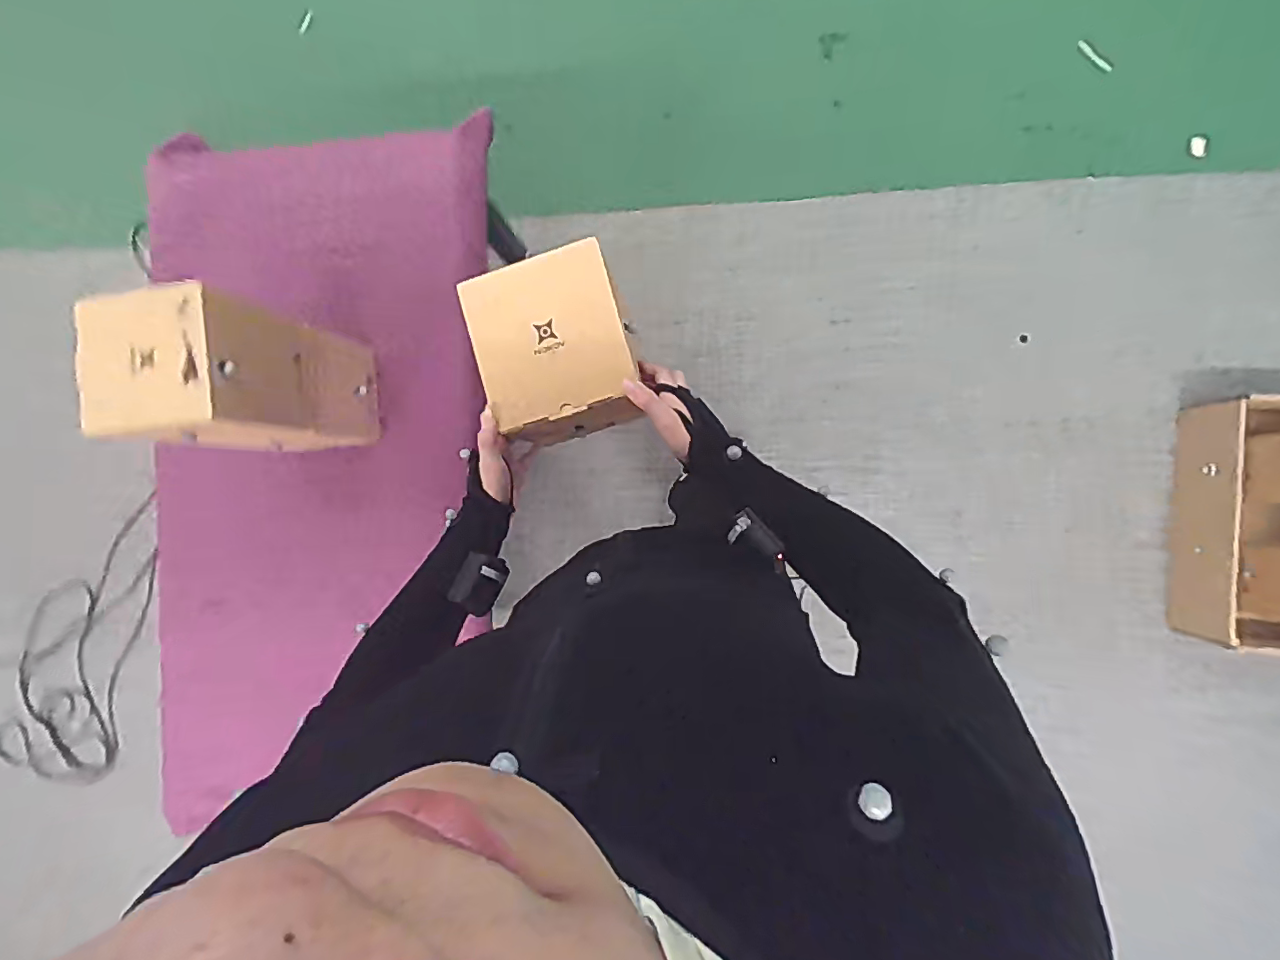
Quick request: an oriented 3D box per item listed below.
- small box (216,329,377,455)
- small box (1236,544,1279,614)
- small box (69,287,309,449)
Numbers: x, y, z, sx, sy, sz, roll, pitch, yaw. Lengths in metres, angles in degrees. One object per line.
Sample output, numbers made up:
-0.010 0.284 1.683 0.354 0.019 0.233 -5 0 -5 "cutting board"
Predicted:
-0.560 -0.131 0.875 0.179 0.176 0.168 -5 89 6 "small box"
1.629 0.246 1.314 0.179 0.176 0.168 3 88 6 "small box"
-0.579 -0.134 0.712 0.179 0.176 0.168 -6 89 7 "small box"
